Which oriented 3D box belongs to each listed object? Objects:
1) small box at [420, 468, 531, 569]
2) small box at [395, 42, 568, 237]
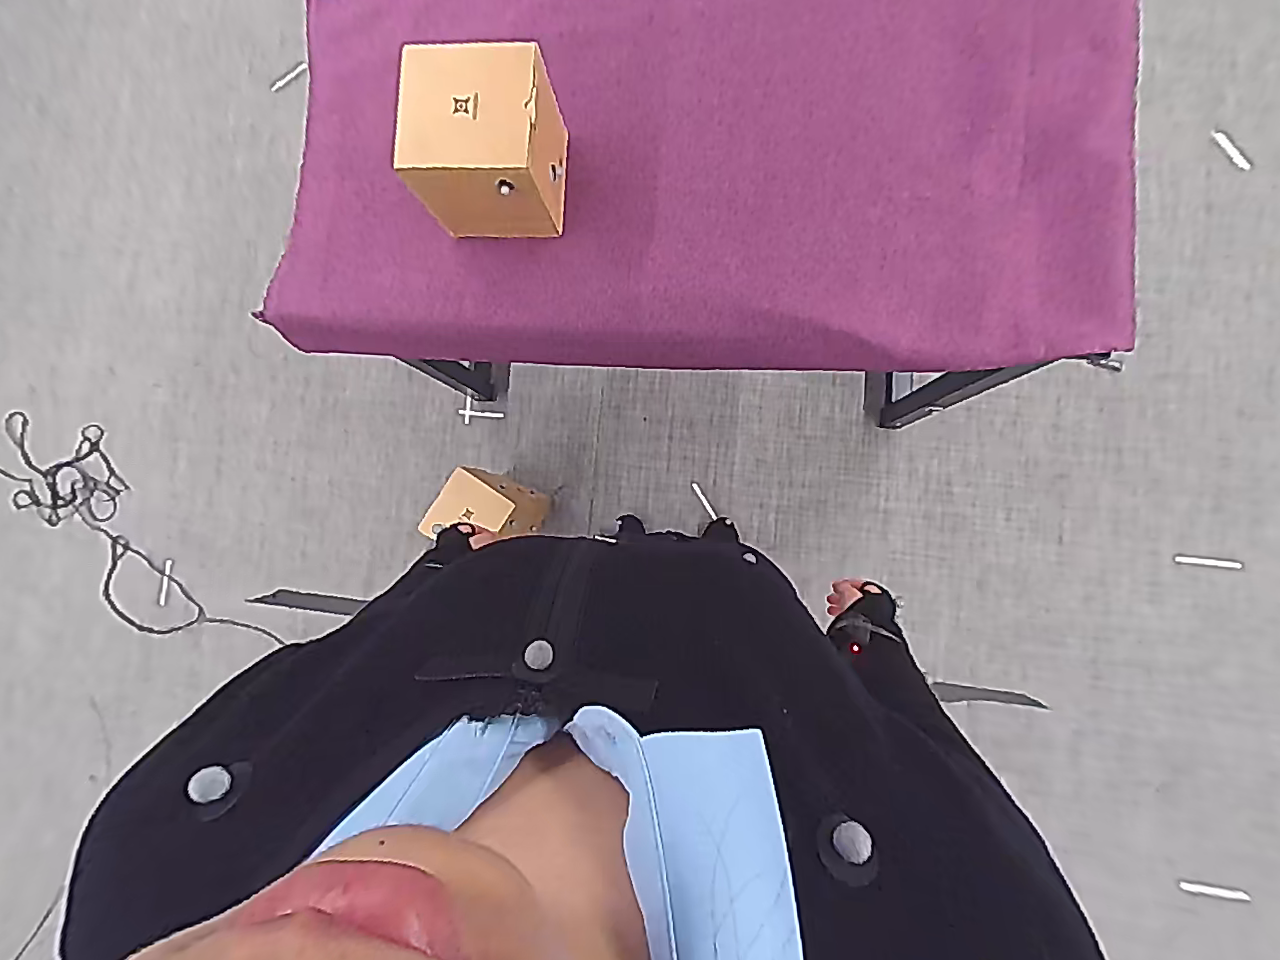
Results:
[{"bbox_3d":[-0.380,0.089,1.295,0.168,0.176,0.179,33,91,6],"label":"small box"},{"bbox_3d":[-0.208,-0.457,0.749,0.179,0.176,0.168,2,86,4],"label":"small box"}]
